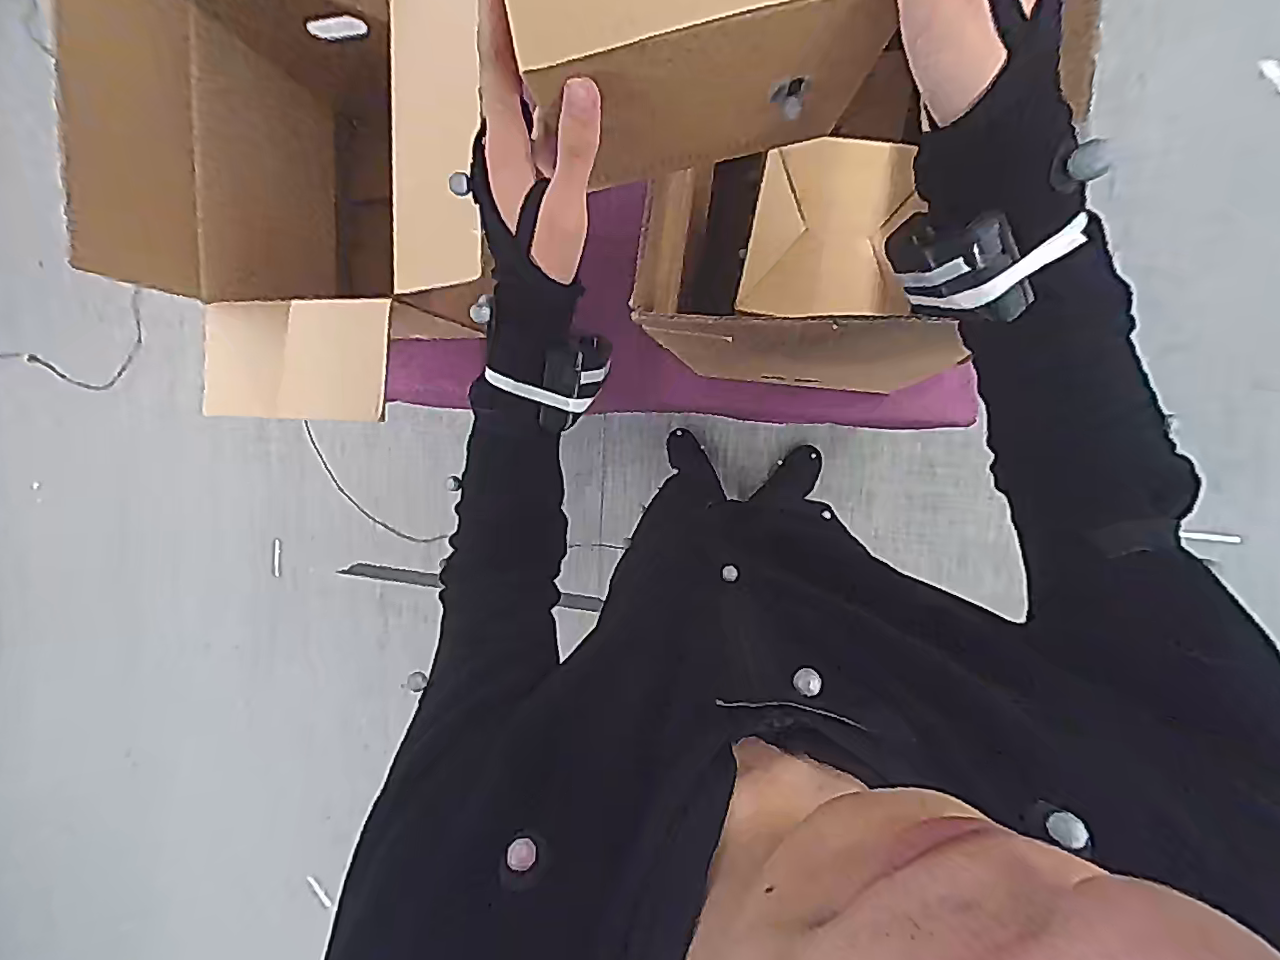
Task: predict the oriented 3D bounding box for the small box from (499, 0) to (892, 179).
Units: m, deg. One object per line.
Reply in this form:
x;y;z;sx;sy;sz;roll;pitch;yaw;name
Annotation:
0.019;-0.292;0.292;0.179;0.176;0.168;-10;100;7;small box
